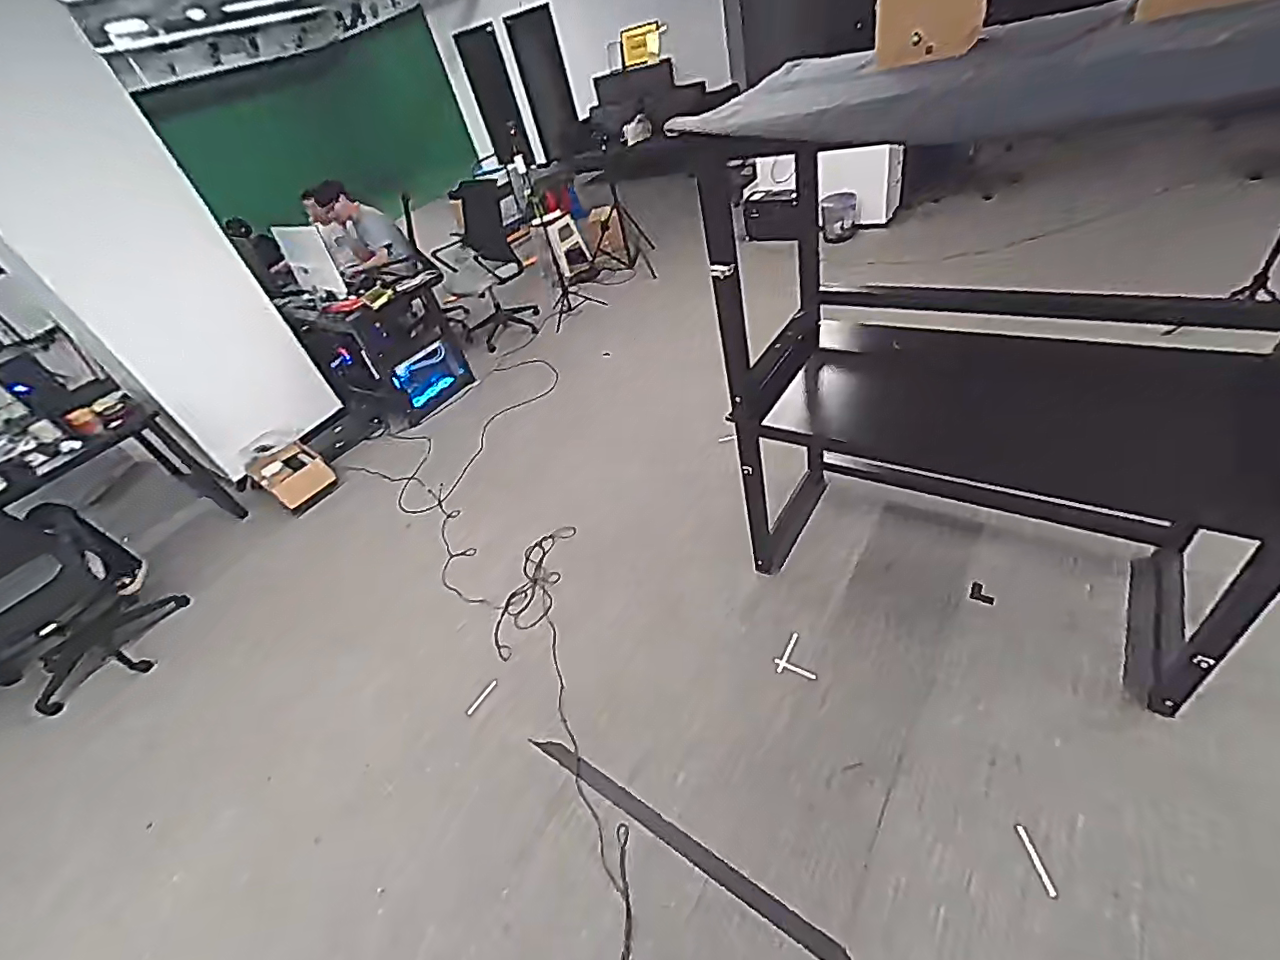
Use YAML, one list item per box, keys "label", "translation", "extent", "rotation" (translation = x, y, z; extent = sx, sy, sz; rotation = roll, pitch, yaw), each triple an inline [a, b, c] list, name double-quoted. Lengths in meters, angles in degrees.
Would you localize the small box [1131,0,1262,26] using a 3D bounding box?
- label: "small box"
  translation: [0.928, -0.853, 0.854]
  extent: [0.179, 0.176, 0.168]
  rotation: [18, 50, 34]
